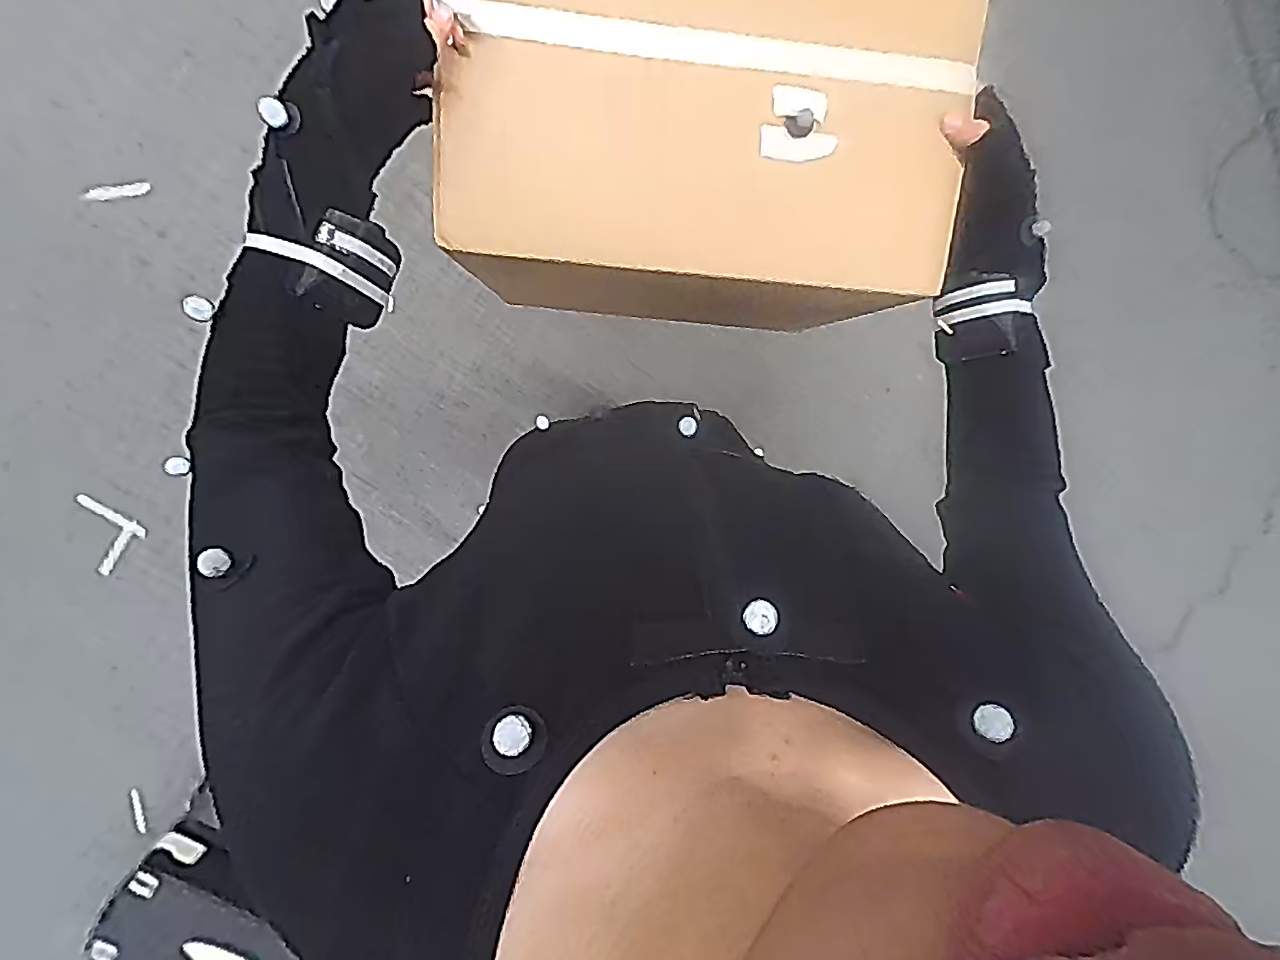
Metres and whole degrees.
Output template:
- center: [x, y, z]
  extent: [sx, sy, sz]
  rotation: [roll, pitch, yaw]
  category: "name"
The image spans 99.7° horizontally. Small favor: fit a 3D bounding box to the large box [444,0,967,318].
- center: [0.039, -0.353, 0.558]
  extent: [0.408, 0.320, 0.320]
  rotation: [3, 101, -6]
  category: "large box"
